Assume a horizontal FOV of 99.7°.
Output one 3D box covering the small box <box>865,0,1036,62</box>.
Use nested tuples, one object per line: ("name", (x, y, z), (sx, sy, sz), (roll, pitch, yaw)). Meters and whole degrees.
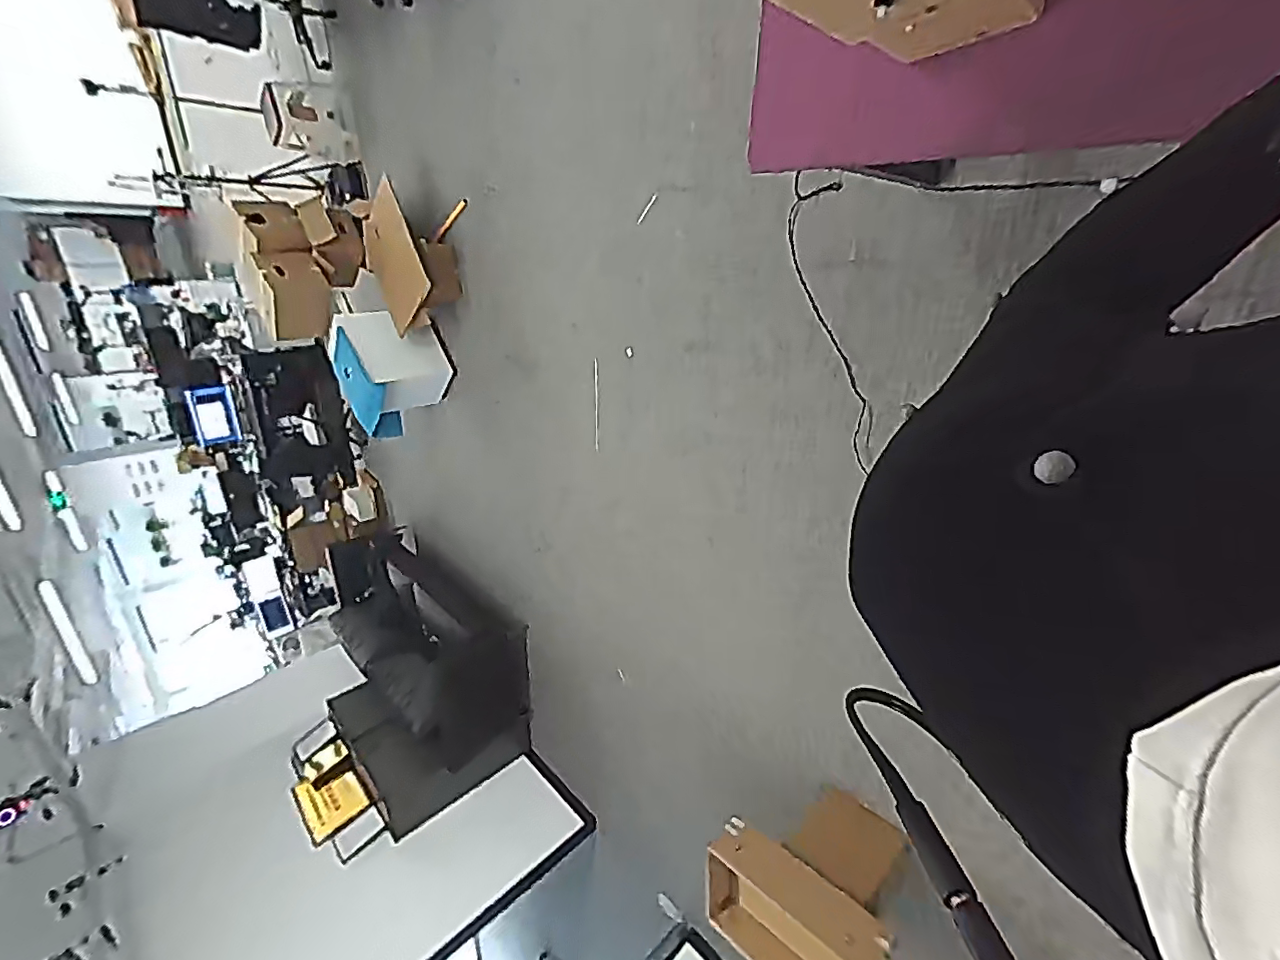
("small box", (0.357, -0.631, 0.626), (0.168, 0.176, 0.179), (16, 116, 44))

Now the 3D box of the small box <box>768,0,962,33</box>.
("small box", (0.241, -0.572, 0.523), (0.168, 0.176, 0.179), (17, 117, 42))
